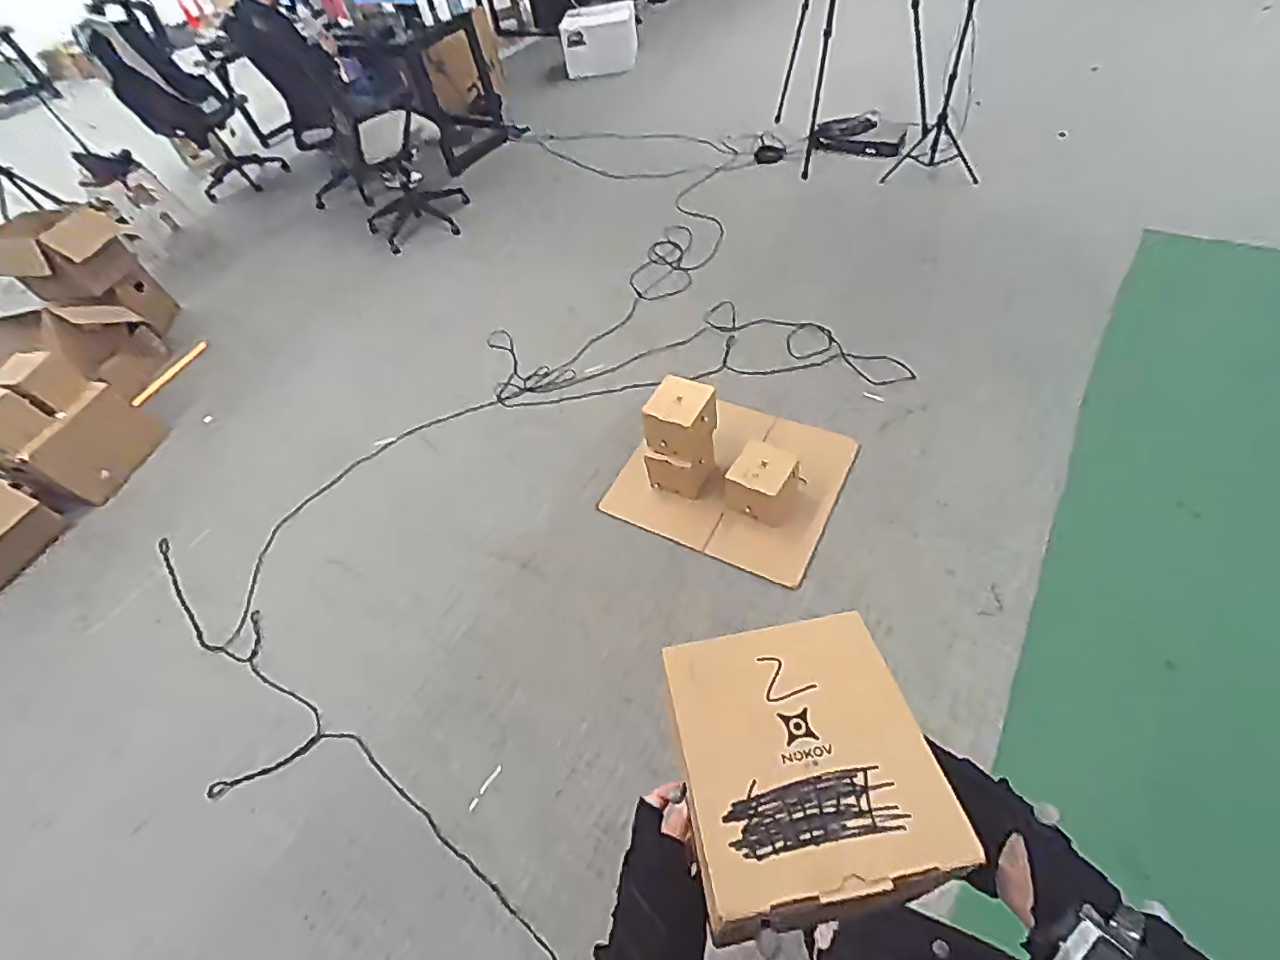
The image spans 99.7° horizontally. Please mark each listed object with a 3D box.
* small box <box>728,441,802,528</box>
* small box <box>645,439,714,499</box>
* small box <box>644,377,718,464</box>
[{"bbox_3d":[0.385,0.014,1.680,0.168,0.176,0.179,24,62,27],"label":"small box"},{"bbox_3d":[0.139,-0.064,1.785,0.168,0.176,0.179,18,58,23],"label":"small box"},{"bbox_3d":[0.132,-0.182,1.670,0.168,0.176,0.179,21,59,24],"label":"small box"}]
